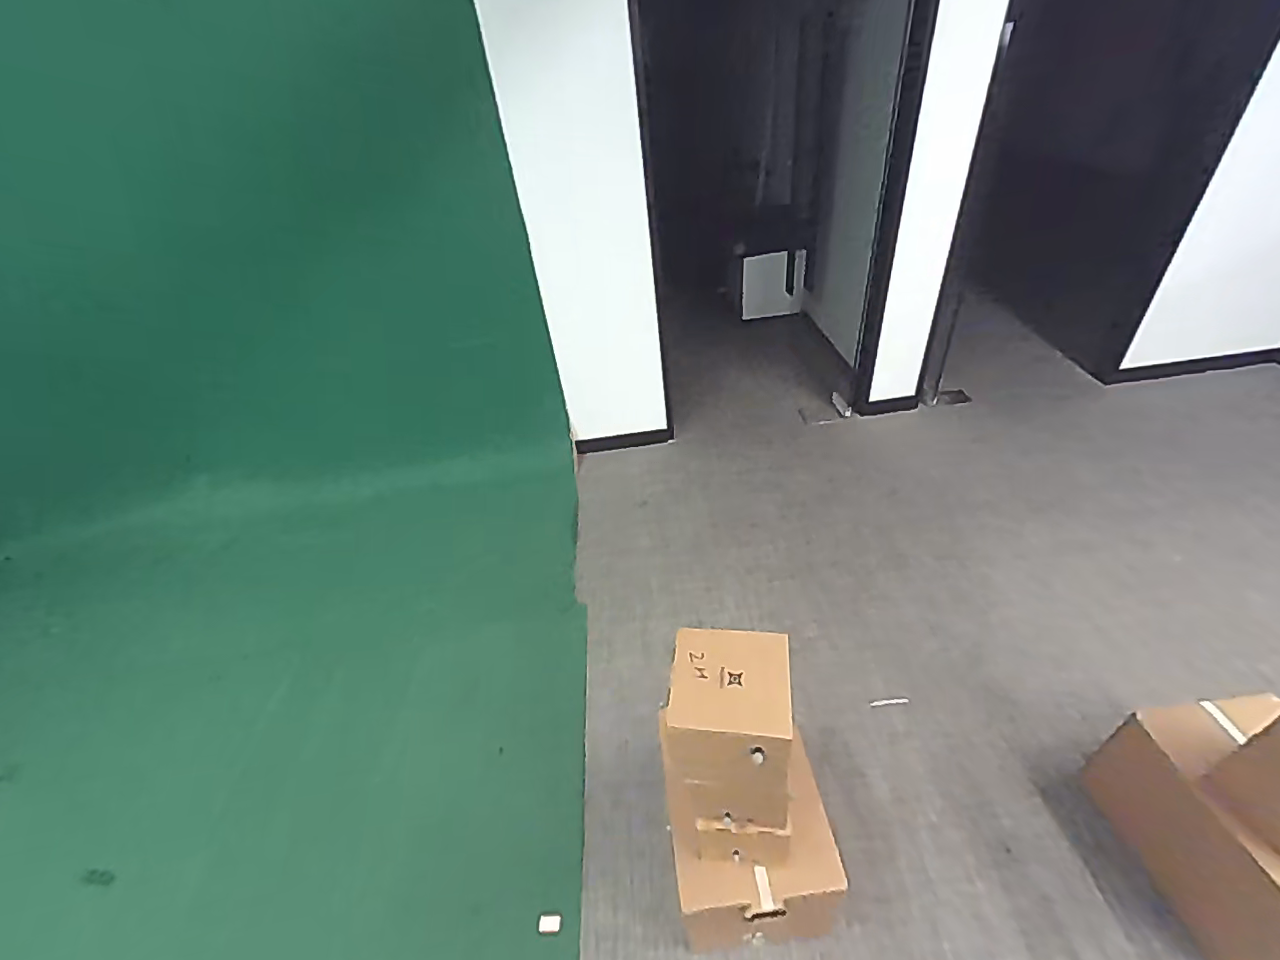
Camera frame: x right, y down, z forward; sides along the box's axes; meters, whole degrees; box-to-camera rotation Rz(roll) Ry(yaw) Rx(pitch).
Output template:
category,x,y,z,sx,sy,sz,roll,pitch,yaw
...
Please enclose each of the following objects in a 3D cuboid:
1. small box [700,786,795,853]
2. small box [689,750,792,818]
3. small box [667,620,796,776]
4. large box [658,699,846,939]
category,x,y,z,sx,sy,sz,roll,pitch,yaw
small box,0.204,0.593,1.052,0.168,0.176,0.179,-2,40,9
small box,0.177,0.463,0.956,0.168,0.176,0.179,-1,41,12
small box,0.147,0.342,0.849,0.179,0.176,0.168,0,40,13
large box,0.236,0.745,1.245,0.320,0.320,0.408,-9,38,0
